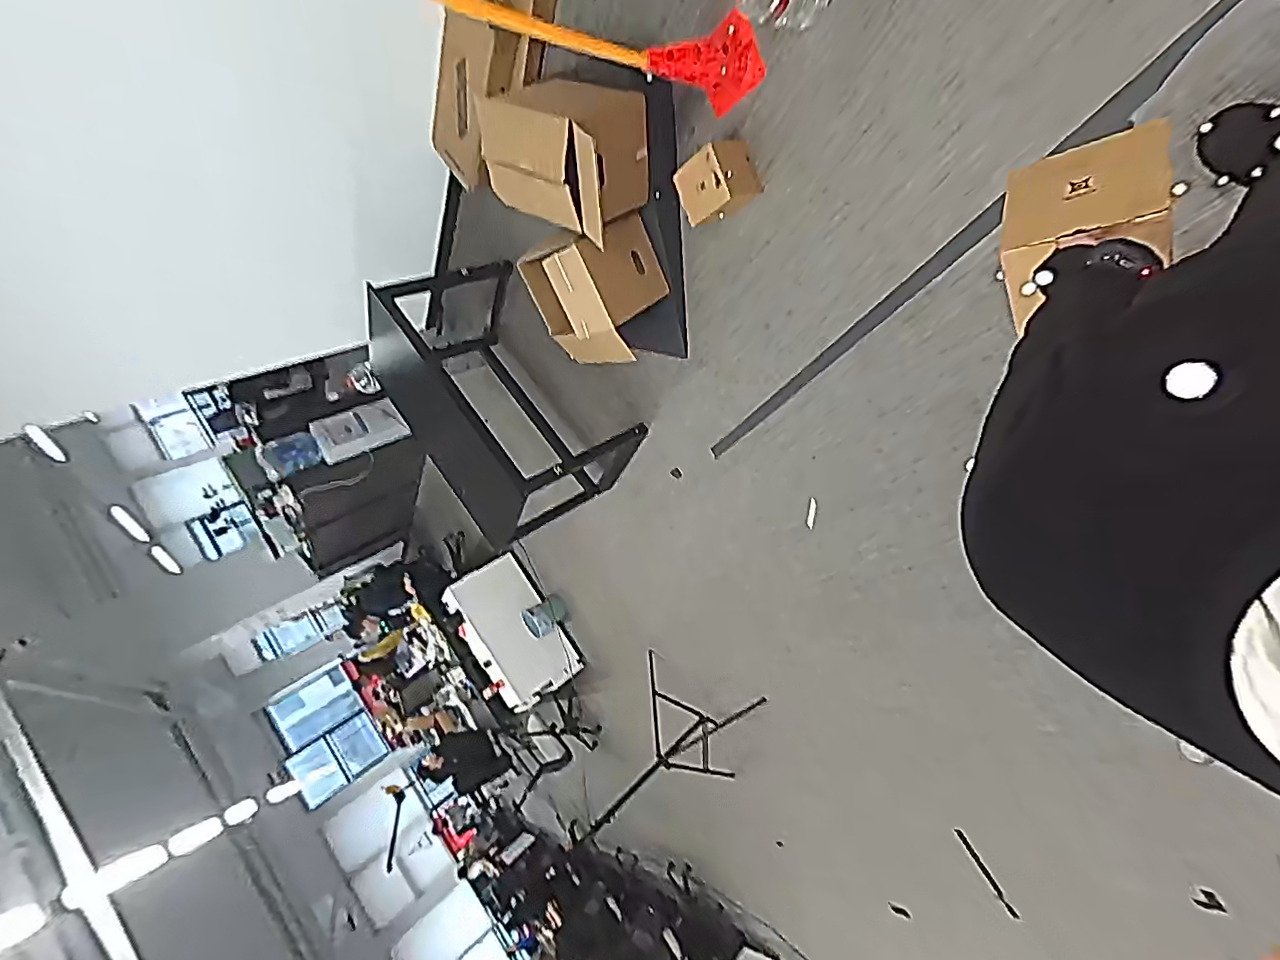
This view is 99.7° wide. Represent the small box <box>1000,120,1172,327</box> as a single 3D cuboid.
[{"bbox_3d":[0.611,-0.330,0.738,0.168,0.179,0.176,1,149,43],"label":"small box"}]
